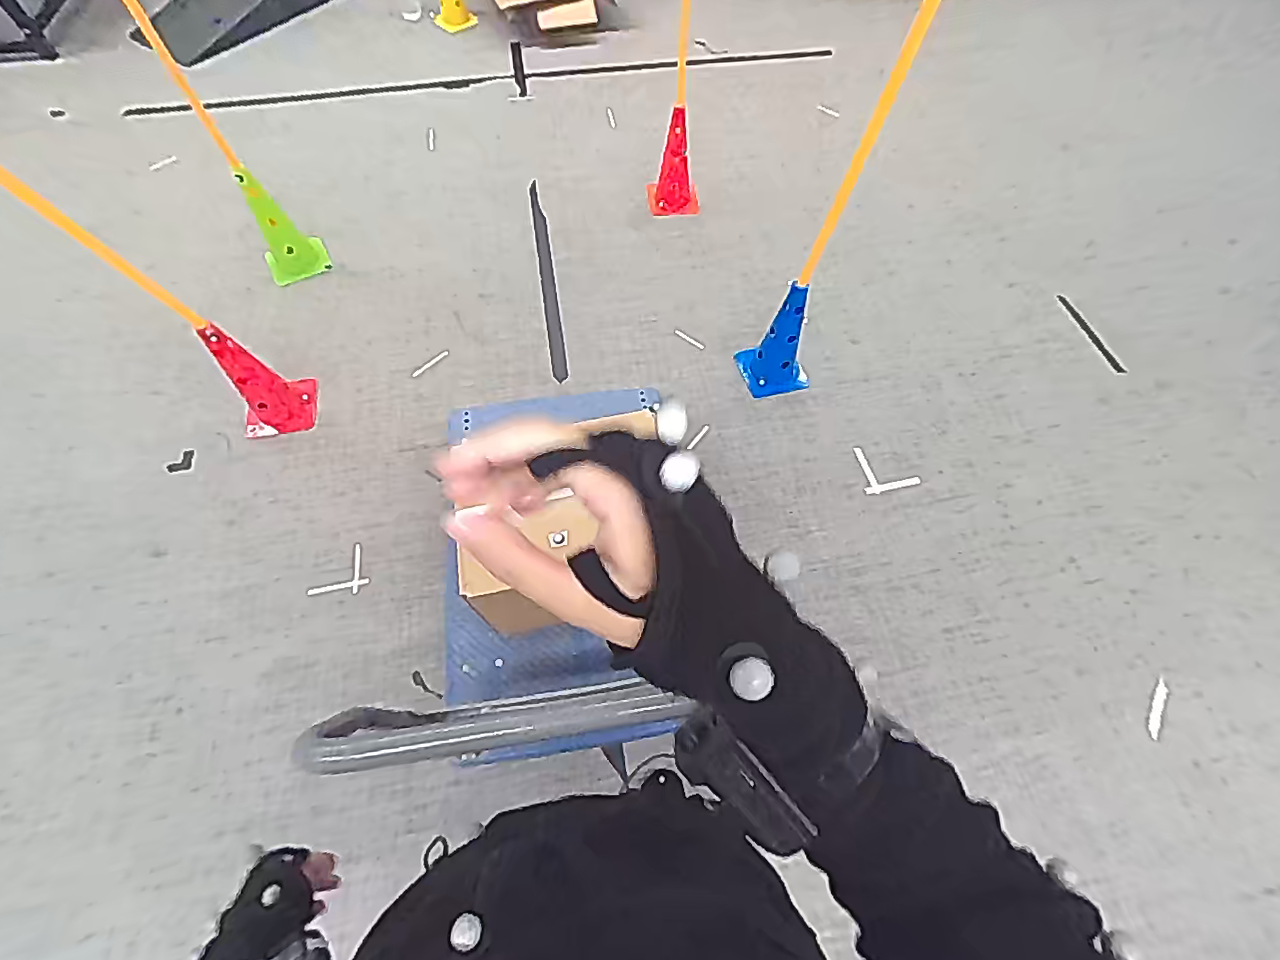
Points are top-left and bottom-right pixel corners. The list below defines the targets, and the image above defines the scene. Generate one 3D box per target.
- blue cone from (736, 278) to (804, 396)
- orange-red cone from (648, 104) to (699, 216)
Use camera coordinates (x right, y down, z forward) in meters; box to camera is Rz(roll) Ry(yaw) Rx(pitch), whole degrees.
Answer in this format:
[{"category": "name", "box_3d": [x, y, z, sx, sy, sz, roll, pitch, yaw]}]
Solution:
[{"category": "blue cone", "box_3d": [0.433, -0.441, 1.636, 0.193, 0.380, 0.192, -13, 62, -8]}, {"category": "orange-red cone", "box_3d": [0.139, -1.209, 2.027, 0.199, 0.360, 0.198, -3, 62, -4]}]
